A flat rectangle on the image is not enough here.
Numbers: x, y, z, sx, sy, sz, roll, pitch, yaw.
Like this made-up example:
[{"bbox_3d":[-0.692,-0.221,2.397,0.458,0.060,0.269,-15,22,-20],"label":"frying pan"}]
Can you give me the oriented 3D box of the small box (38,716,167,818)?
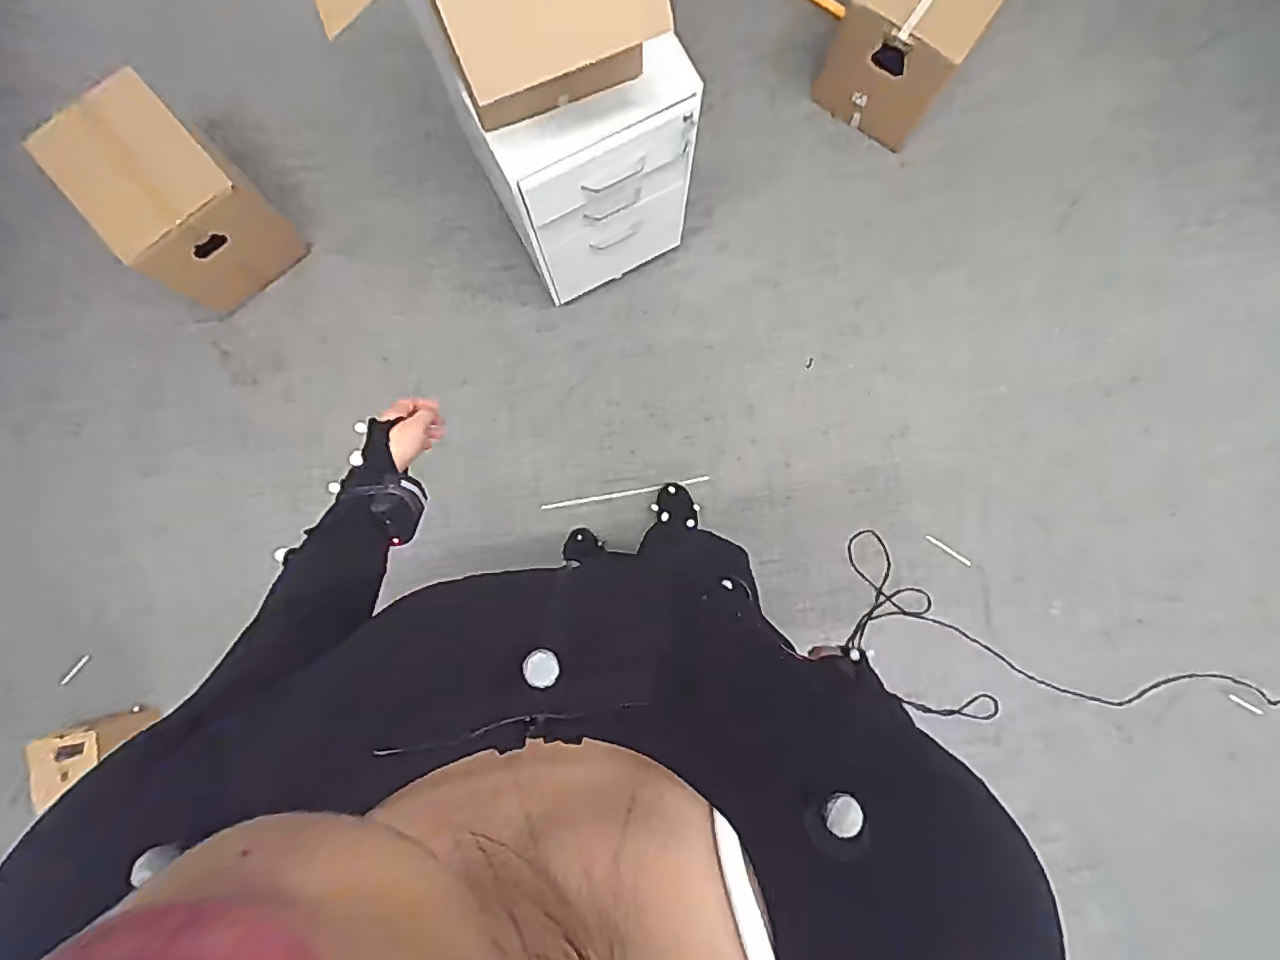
[{"bbox_3d":[-1.357,0.716,1.374,0.168,0.176,0.179,-9,85,-1],"label":"small box"}]
